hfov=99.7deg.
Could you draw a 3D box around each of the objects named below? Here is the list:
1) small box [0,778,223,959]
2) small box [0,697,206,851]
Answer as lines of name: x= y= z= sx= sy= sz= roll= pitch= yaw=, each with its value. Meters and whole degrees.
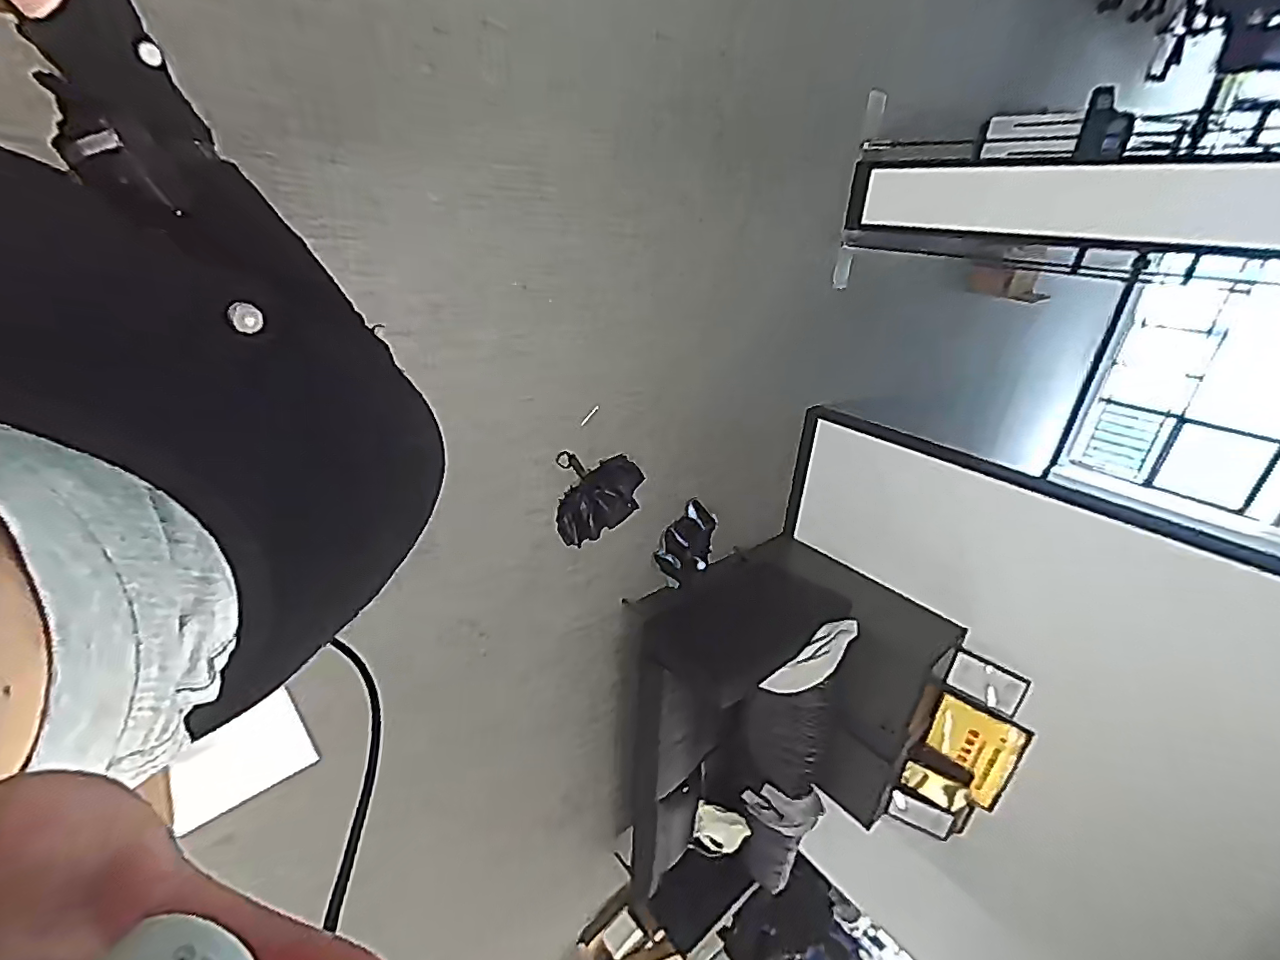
small box: x=-0.684 y=0.528 z=0.699 sx=0.168 sy=0.176 sz=0.179 roll=-26 pitch=130 yaw=-32
small box: x=-0.791 y=0.467 z=0.808 sx=0.168 sy=0.176 sz=0.179 roll=-28 pitch=130 yaw=-32
